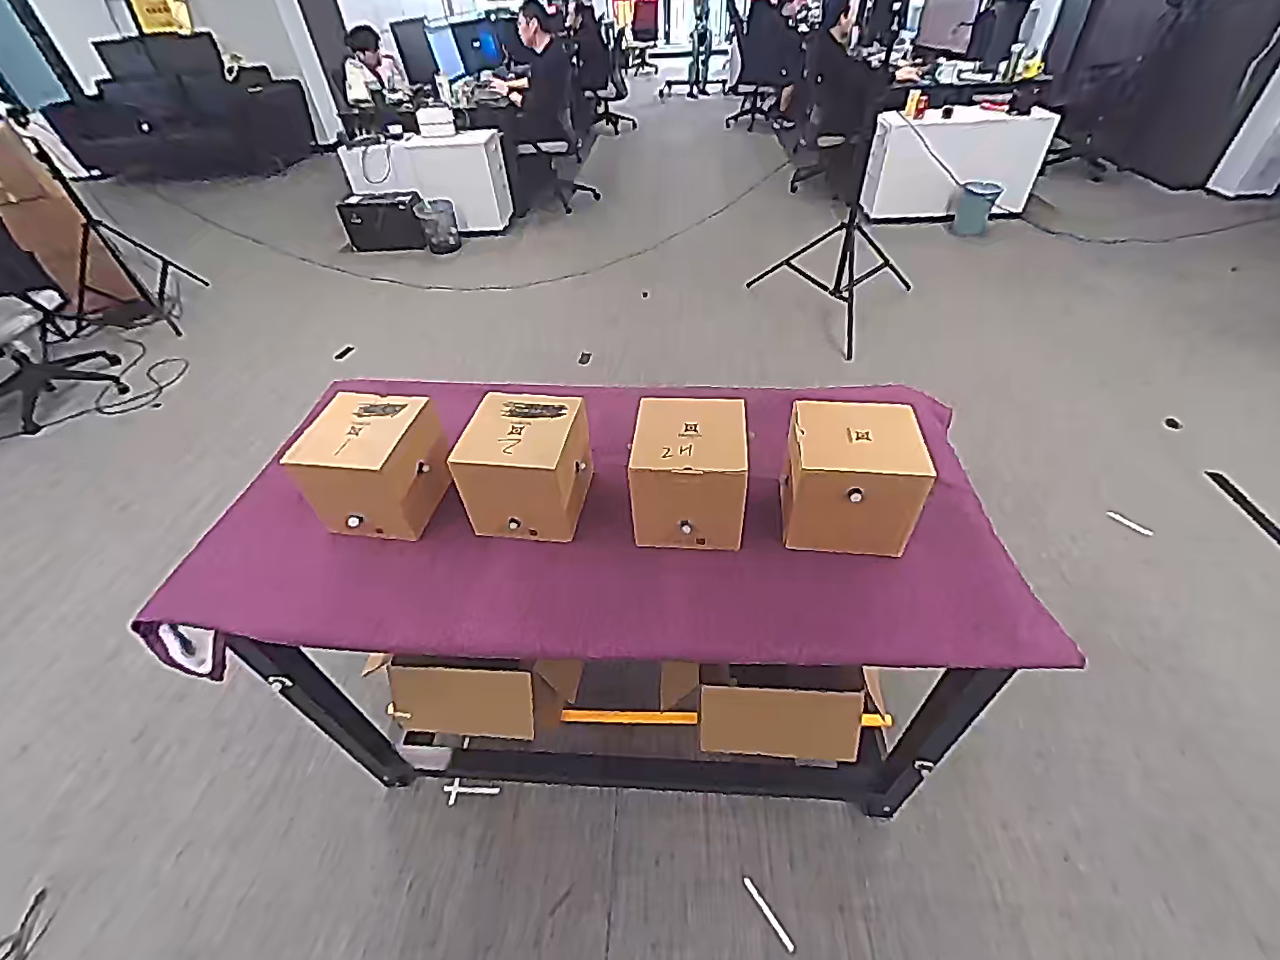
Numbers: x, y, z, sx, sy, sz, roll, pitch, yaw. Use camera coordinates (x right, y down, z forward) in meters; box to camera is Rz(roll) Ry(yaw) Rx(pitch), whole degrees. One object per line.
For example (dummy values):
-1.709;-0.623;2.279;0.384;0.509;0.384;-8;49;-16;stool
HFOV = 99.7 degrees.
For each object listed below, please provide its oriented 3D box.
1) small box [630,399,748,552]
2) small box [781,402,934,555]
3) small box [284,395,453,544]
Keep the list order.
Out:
0.079;-0.010;0.858;0.168;0.176;0.179;2;43;7;small box
0.319;-0.001;0.834;0.179;0.176;0.168;3;42;9;small box
-0.432;-0.019;0.902;0.168;0.176;0.179;4;46;8;small box
